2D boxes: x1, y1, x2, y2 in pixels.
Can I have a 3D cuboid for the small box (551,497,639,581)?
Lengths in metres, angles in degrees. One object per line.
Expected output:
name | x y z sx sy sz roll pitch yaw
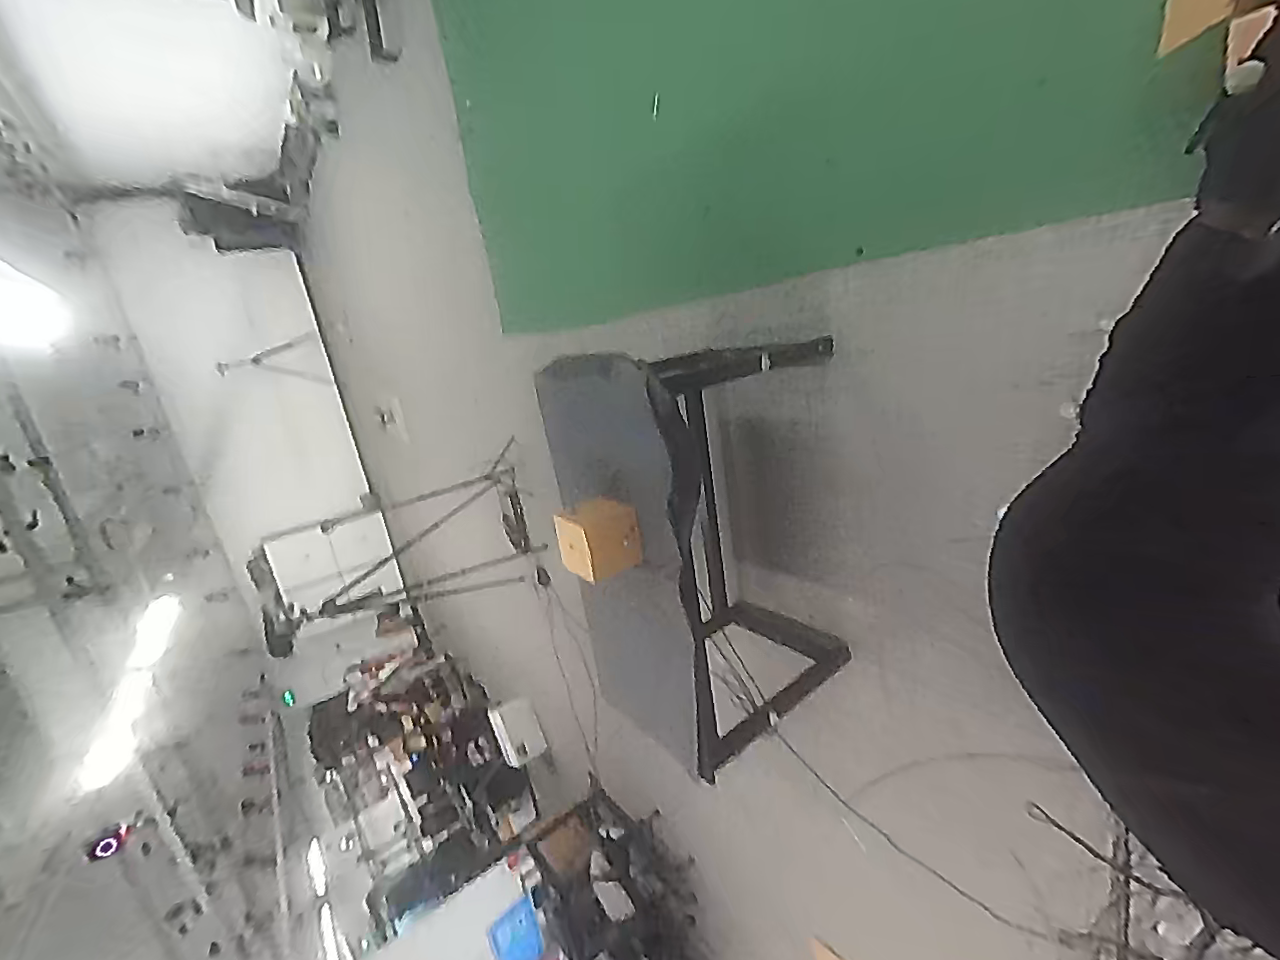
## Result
small box | -0.125 0.157 1.515 0.179 0.176 0.168 14 118 51
